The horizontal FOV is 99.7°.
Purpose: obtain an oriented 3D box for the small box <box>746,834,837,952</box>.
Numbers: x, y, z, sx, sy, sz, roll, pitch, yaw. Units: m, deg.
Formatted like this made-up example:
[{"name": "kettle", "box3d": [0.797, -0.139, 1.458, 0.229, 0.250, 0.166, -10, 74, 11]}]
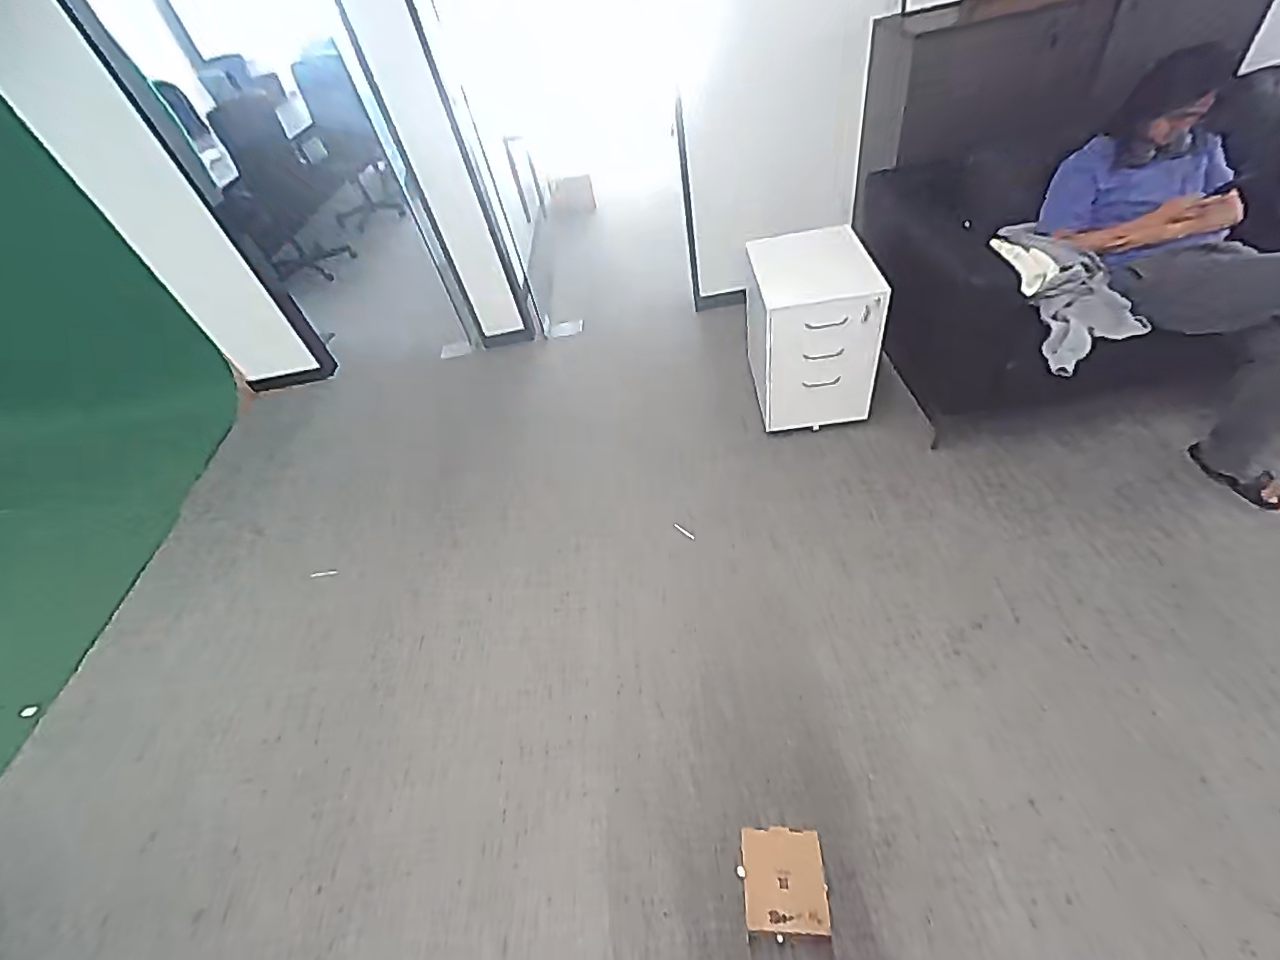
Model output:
[{"name": "small box", "box3d": [0.317, 0.891, 1.167, 0.168, 0.176, 0.179, -3, 45, 9]}]
